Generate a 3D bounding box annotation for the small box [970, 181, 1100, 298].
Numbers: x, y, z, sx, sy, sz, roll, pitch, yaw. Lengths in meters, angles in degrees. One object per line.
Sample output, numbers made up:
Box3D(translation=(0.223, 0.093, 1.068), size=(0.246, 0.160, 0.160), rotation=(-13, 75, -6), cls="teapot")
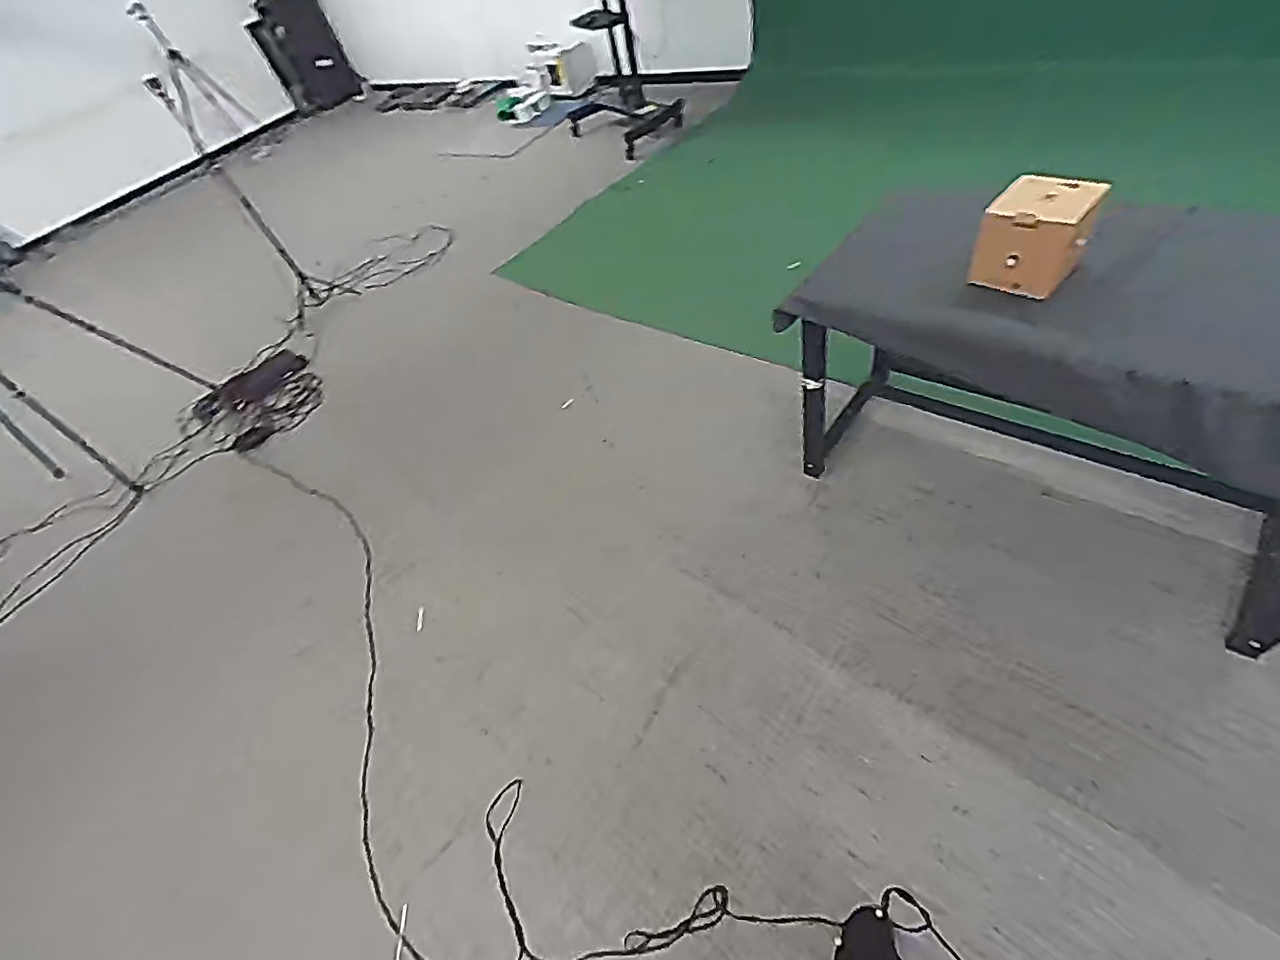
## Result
Box3D(translation=(0.850, -0.525, 1.182), size=(0.168, 0.176, 0.179), rotation=(30, 64, 36), cls="small box")
